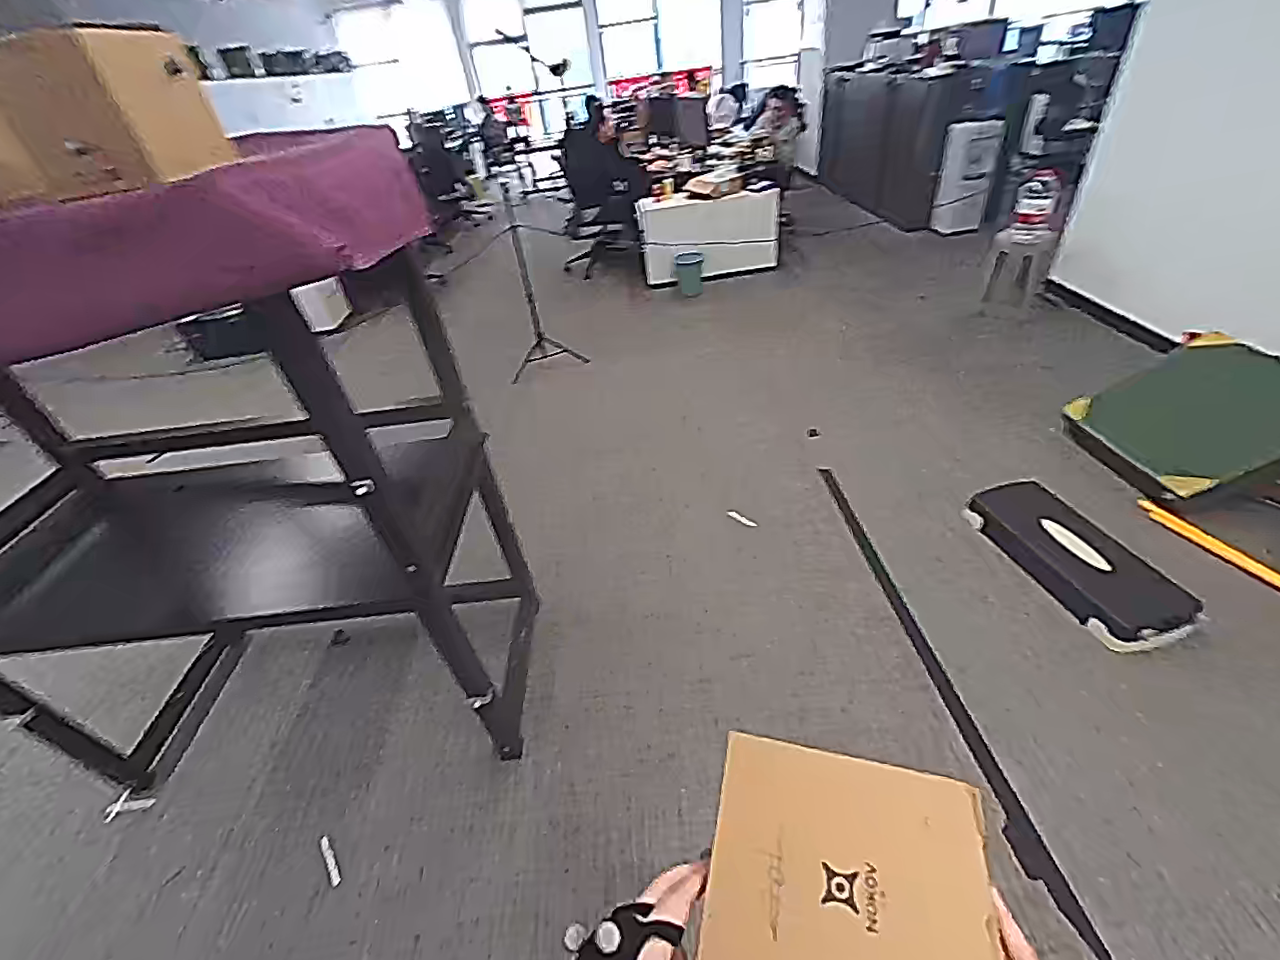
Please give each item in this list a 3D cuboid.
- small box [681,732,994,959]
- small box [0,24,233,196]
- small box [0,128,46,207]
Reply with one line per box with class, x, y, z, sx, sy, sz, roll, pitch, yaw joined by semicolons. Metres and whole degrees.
small box;0.131;0.314;0.392;0.179;0.176;0.168;6;45;16
small box;-0.715;-0.502;0.745;0.168;0.176;0.179;-5;37;6
small box;-1.044;-0.471;0.774;0.168;0.176;0.179;-10;37;-2
